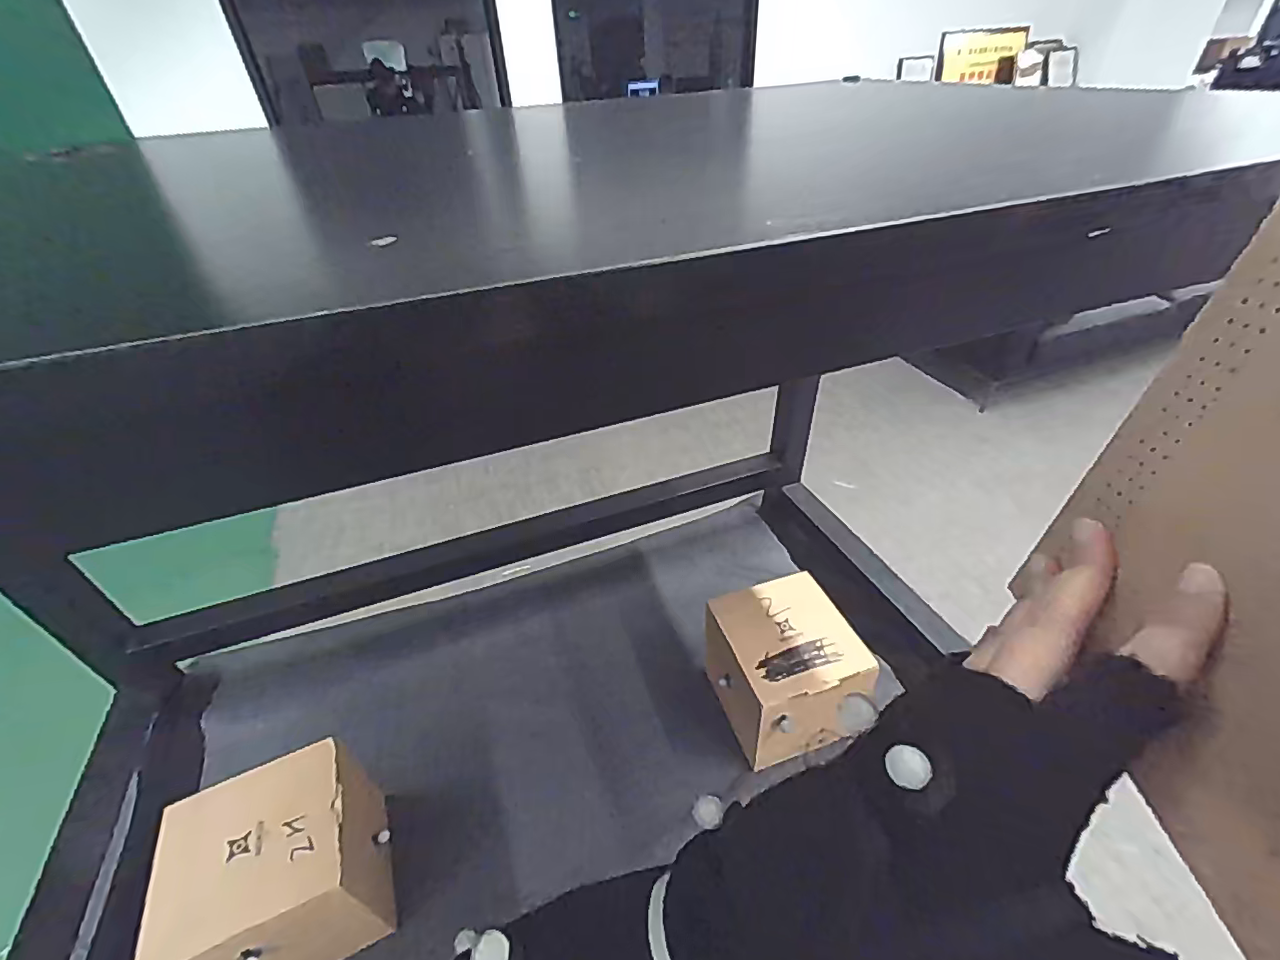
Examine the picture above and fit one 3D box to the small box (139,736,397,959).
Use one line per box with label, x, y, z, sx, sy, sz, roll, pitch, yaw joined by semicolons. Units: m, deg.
small box;-0.397;0.436;0.610;0.179;0.176;0.168;-18;41;-18
